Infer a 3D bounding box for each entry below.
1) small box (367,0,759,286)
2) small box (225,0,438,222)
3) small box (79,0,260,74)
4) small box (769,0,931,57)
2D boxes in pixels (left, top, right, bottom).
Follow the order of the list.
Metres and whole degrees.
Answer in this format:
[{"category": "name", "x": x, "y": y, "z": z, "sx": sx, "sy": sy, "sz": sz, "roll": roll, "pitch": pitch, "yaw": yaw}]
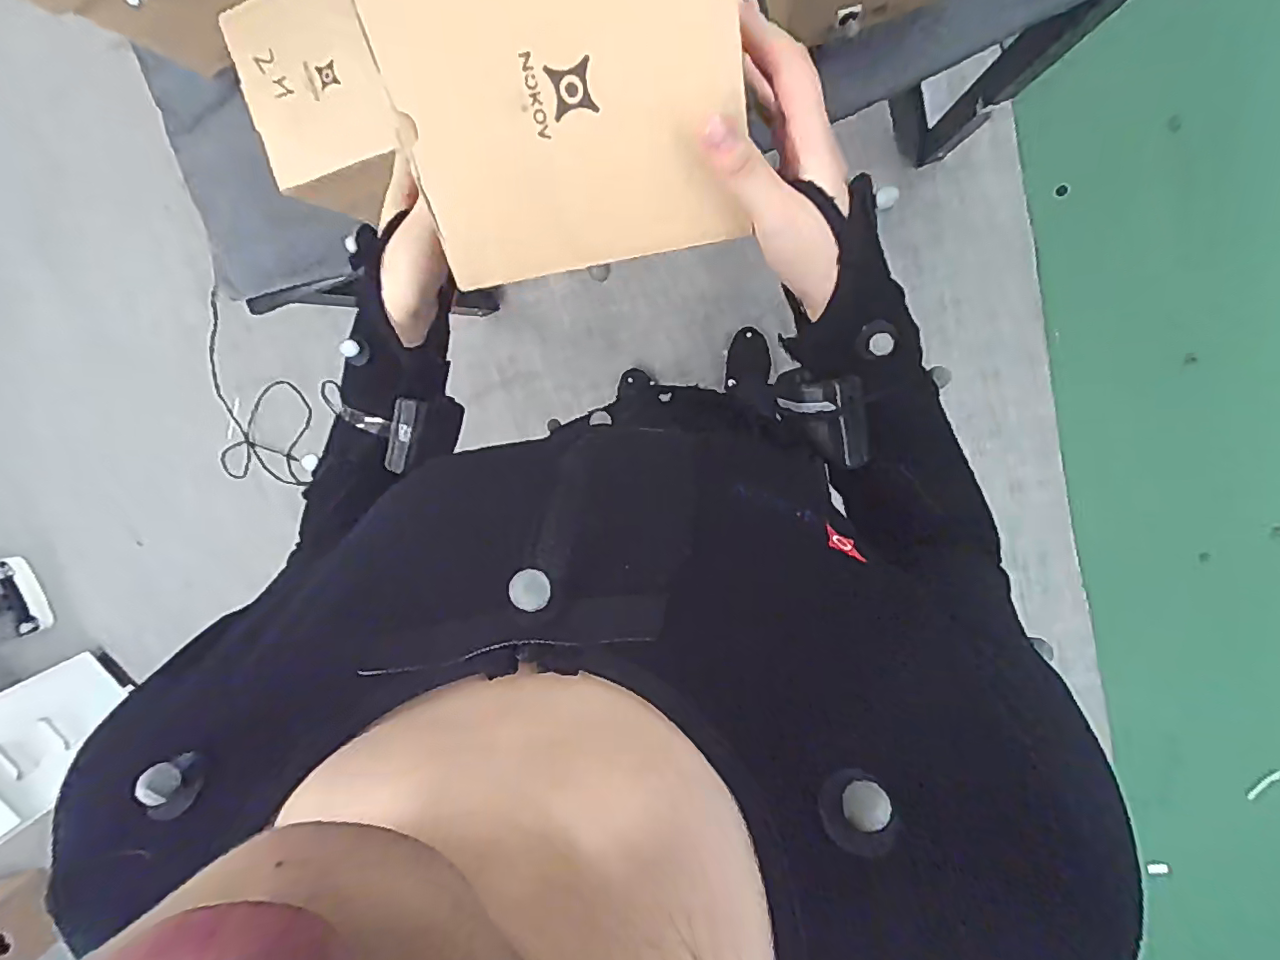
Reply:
[{"category": "small box", "x": -0.030, "y": -0.236, "z": 0.332, "sx": 0.179, "sy": 0.176, "sz": 0.168, "roll": -7, "pitch": 123, "yaw": 8}, {"category": "small box", "x": -0.294, "y": -0.410, "z": 0.605, "sx": 0.179, "sy": 0.176, "sz": 0.168, "roll": -11, "pitch": 103, "yaw": 13}, {"category": "small box", "x": -0.529, "y": -0.605, "z": 0.594, "sx": 0.168, "sy": 0.176, "sz": 0.179, "roll": -18, "pitch": 102, "yaw": 13}, {"category": "small box", "x": 0.195, "y": -0.542, "z": 0.487, "sx": 0.168, "sy": 0.176, "sz": 0.179, "roll": -13, "pitch": 102, "yaw": 13}]
